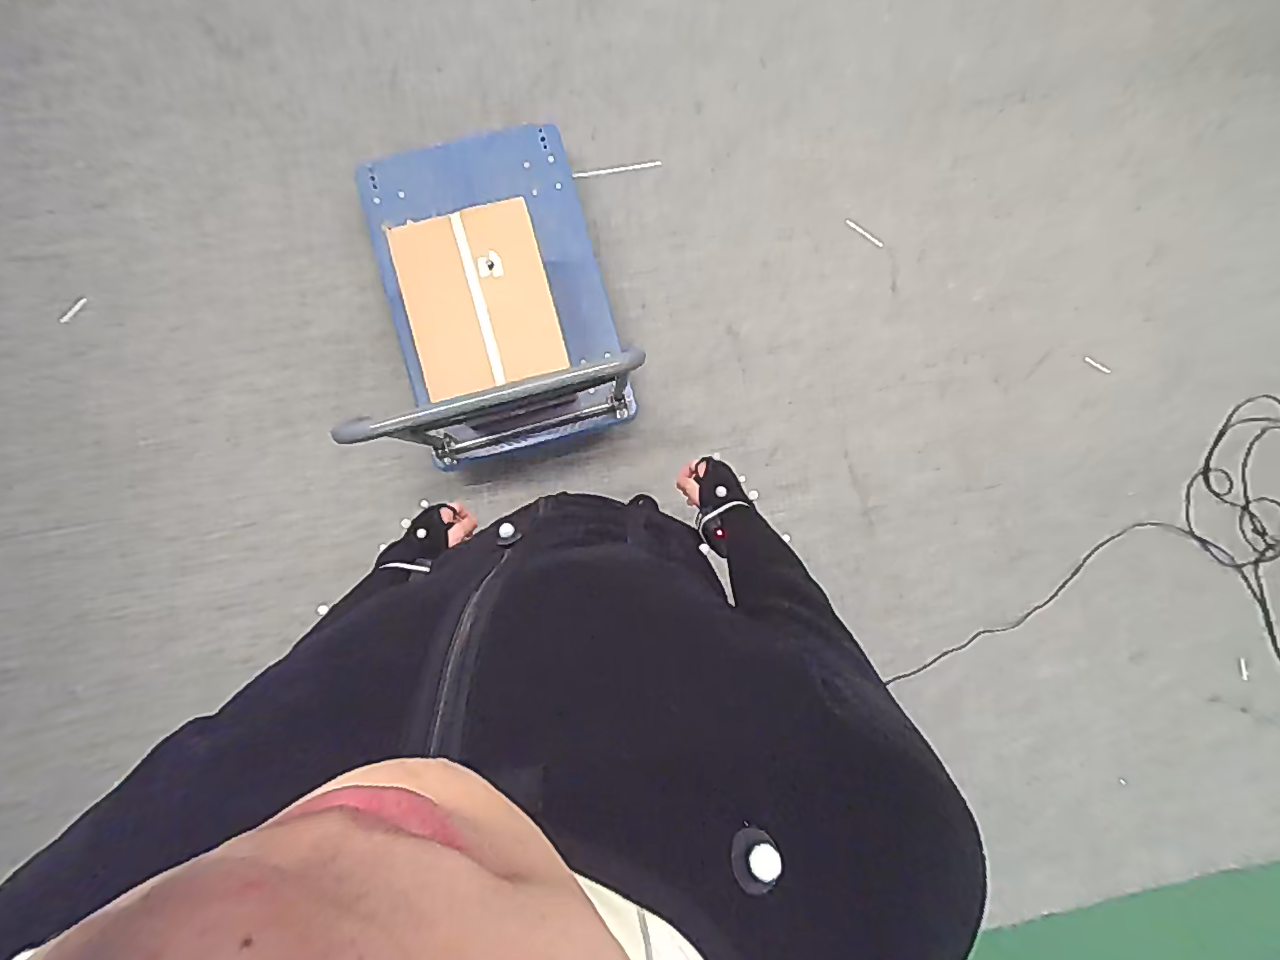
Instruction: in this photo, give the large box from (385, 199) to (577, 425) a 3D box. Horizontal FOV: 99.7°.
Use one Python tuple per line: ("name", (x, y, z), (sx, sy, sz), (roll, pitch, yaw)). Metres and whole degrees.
("large box", (-0.363, -0.385, 1.326), (0.320, 0.320, 0.408), (-16, 87, -5))
